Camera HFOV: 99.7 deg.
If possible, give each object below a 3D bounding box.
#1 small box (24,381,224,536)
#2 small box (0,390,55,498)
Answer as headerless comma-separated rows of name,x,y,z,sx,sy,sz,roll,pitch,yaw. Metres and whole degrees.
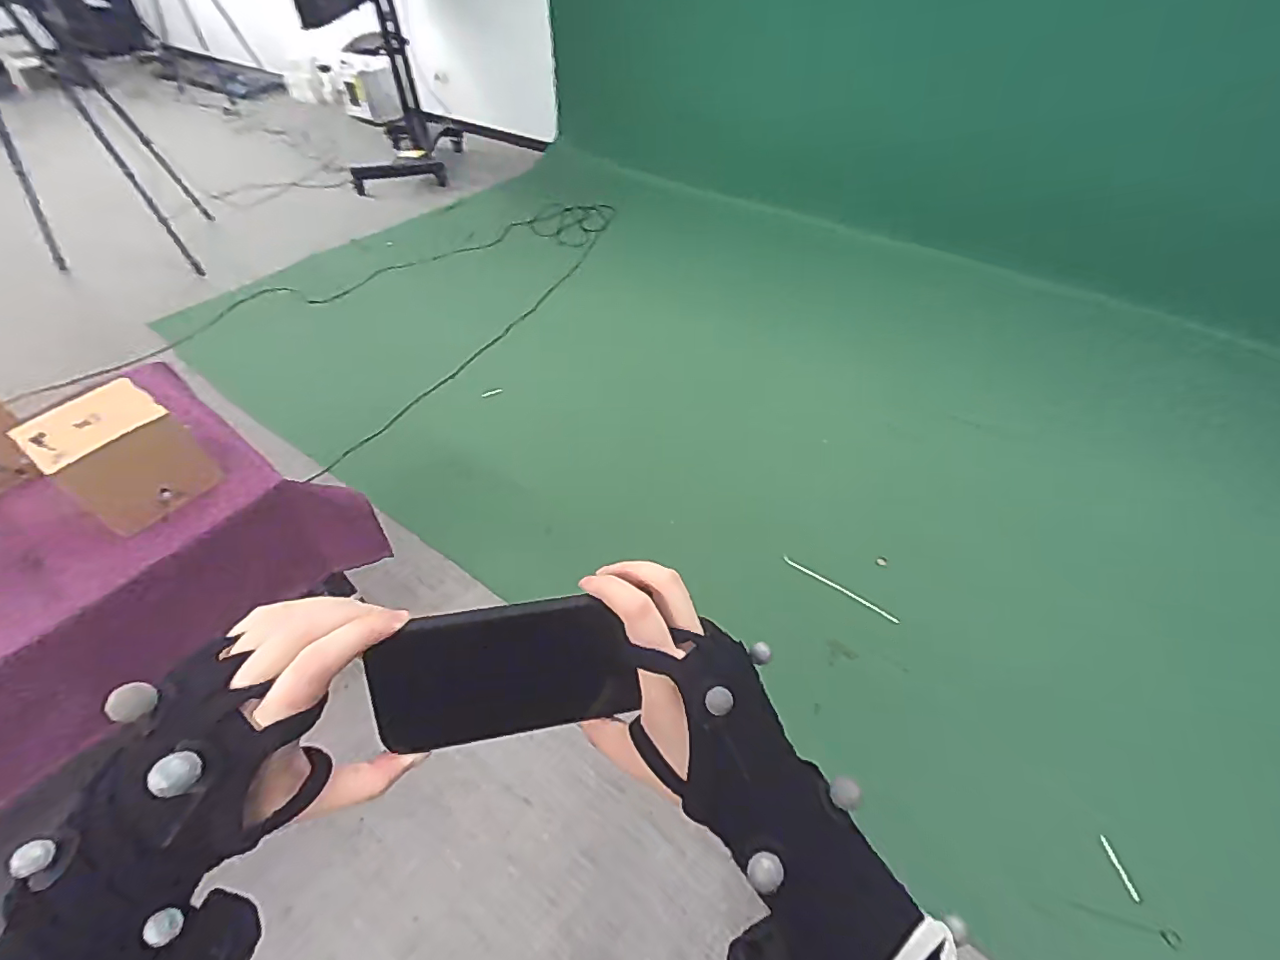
small box,-0.881,-0.038,0.946,0.168,0.176,0.179,28,54,24
small box,-1.222,-0.079,0.984,0.179,0.176,0.168,27,54,22
